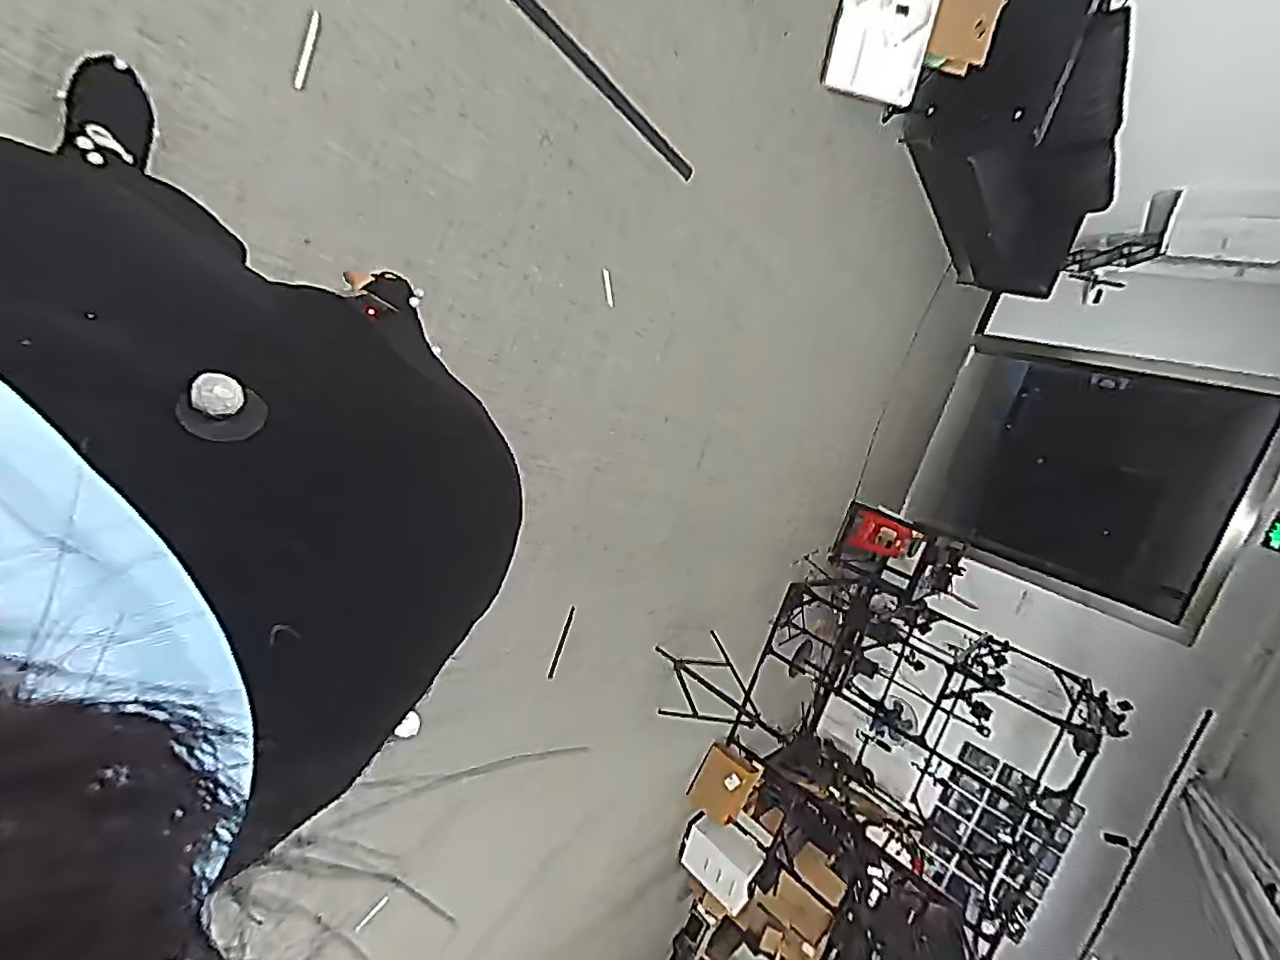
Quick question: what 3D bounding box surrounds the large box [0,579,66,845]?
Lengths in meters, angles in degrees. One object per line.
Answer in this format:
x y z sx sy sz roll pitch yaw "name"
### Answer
-1.138 0.359 0.779 0.408 0.320 0.320 6 104 -50 "large box"
